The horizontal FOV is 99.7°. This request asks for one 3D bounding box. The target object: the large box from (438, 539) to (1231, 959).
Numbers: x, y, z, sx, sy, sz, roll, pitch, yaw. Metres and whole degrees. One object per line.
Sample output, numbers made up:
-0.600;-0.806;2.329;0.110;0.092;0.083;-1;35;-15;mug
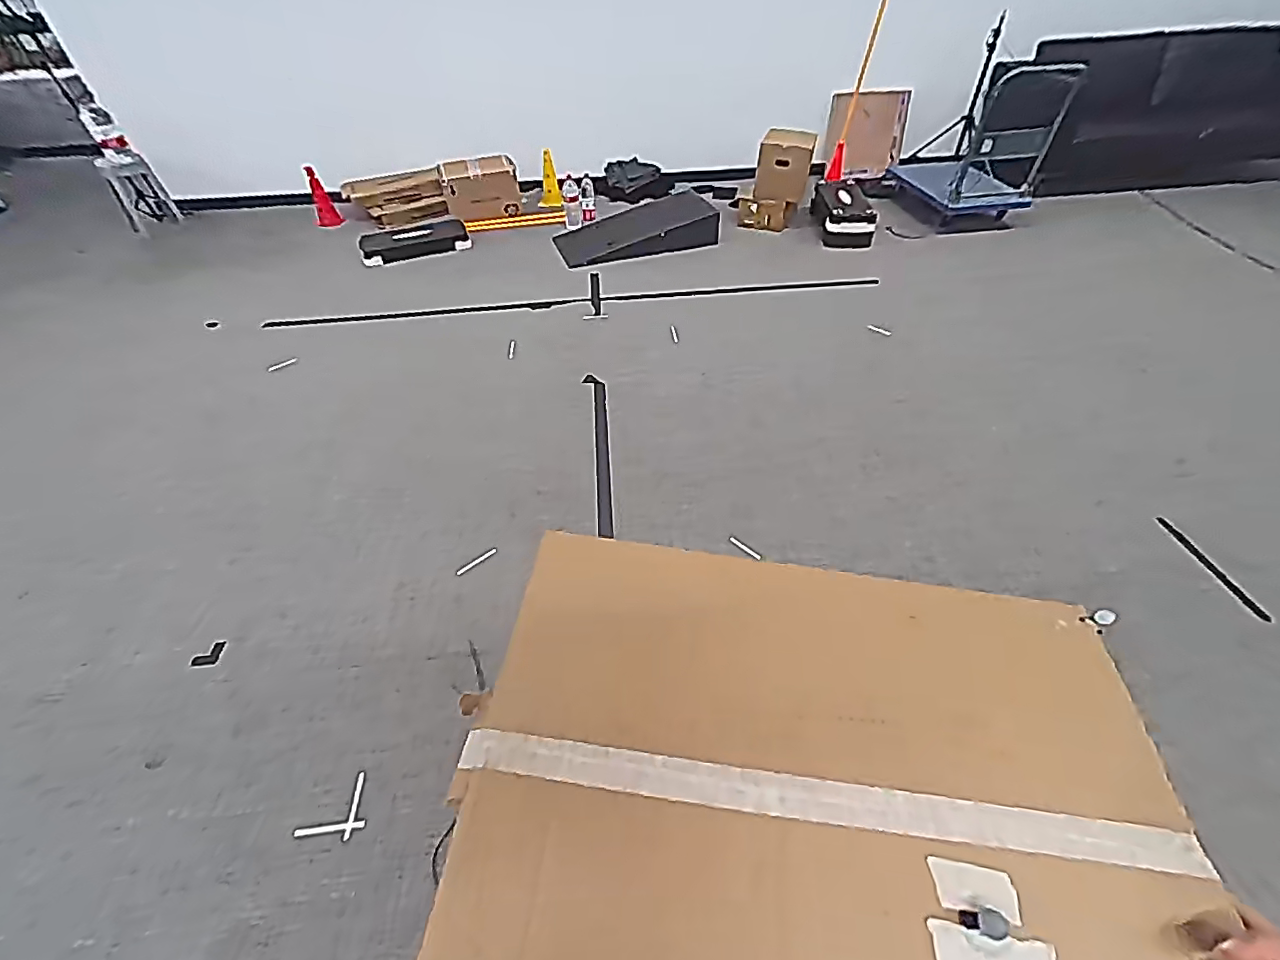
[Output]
0.097;0.281;0.425;0.408;0.320;0.320;8;49;1;large box
